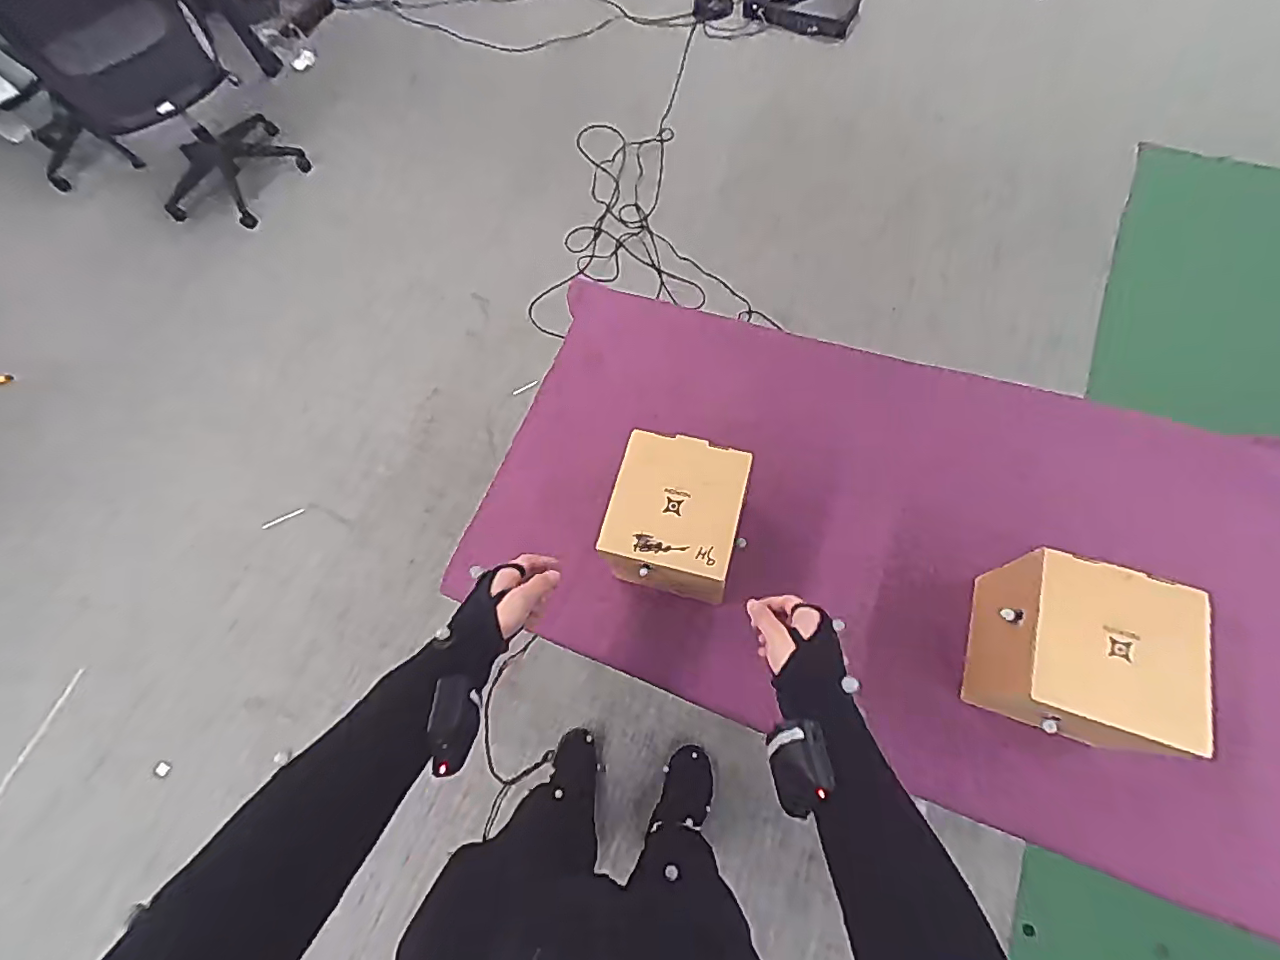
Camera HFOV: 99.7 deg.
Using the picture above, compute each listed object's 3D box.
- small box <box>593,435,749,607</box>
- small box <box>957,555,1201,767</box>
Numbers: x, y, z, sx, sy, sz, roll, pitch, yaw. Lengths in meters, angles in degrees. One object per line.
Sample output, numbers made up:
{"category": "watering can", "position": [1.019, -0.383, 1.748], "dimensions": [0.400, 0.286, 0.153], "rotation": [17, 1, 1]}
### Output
{"category": "small box", "position": [0.049, 0.064, 0.763], "dimensions": [0.168, 0.176, 0.179], "rotation": [13, 70, 12]}
{"category": "small box", "position": [0.508, 0.216, 0.649], "dimensions": [0.168, 0.176, 0.179], "rotation": [17, 69, 13]}
